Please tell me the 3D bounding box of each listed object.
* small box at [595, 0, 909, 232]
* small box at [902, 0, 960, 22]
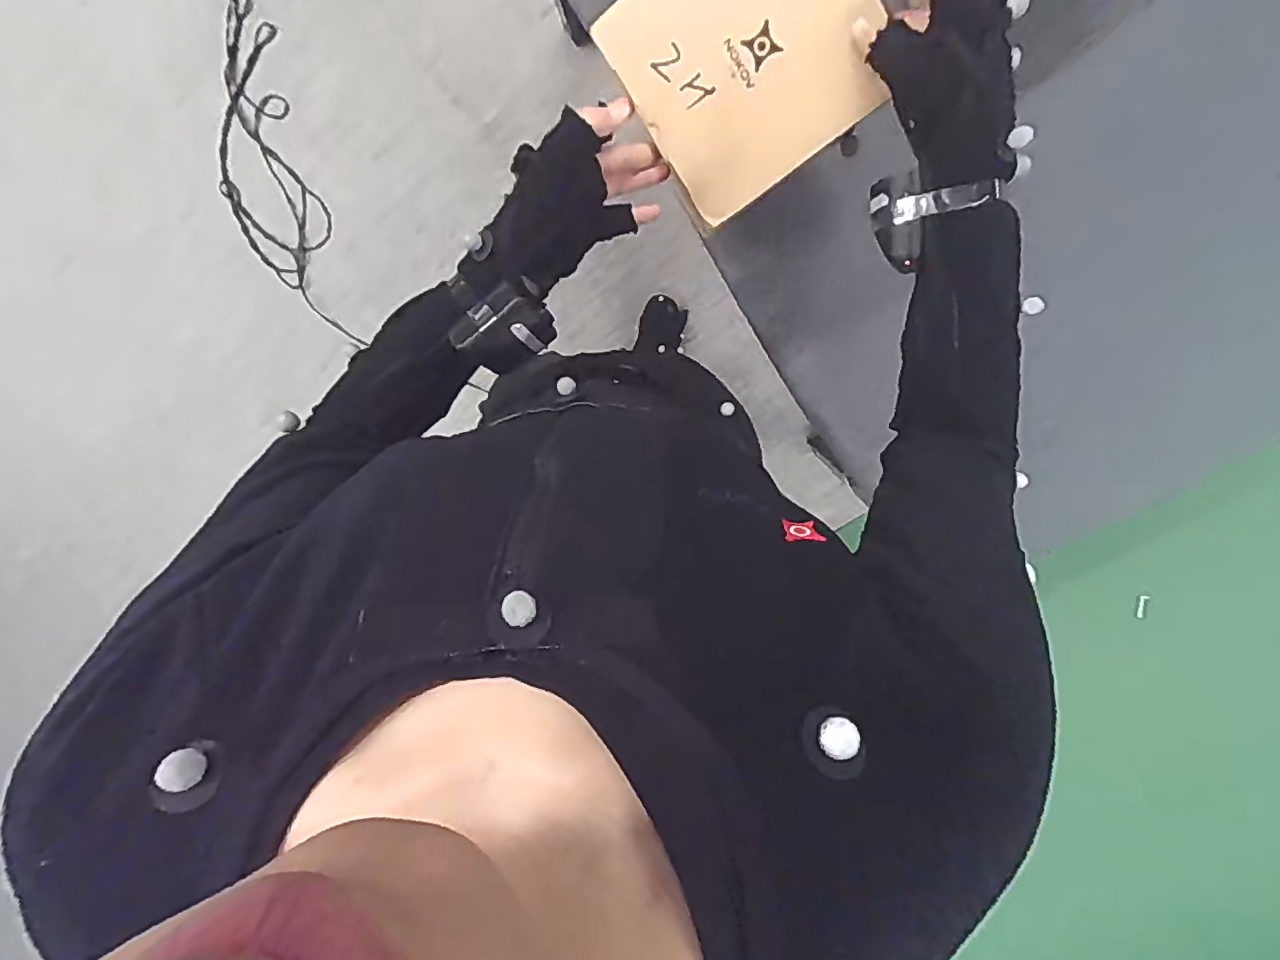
[{"bbox_3d":[0.086,-0.339,0.463,0.179,0.176,0.168,-32,106,16],"label":"small box"},{"bbox_3d":[0.318,-0.556,0.456,0.179,0.176,0.168,-31,104,12],"label":"small box"}]
